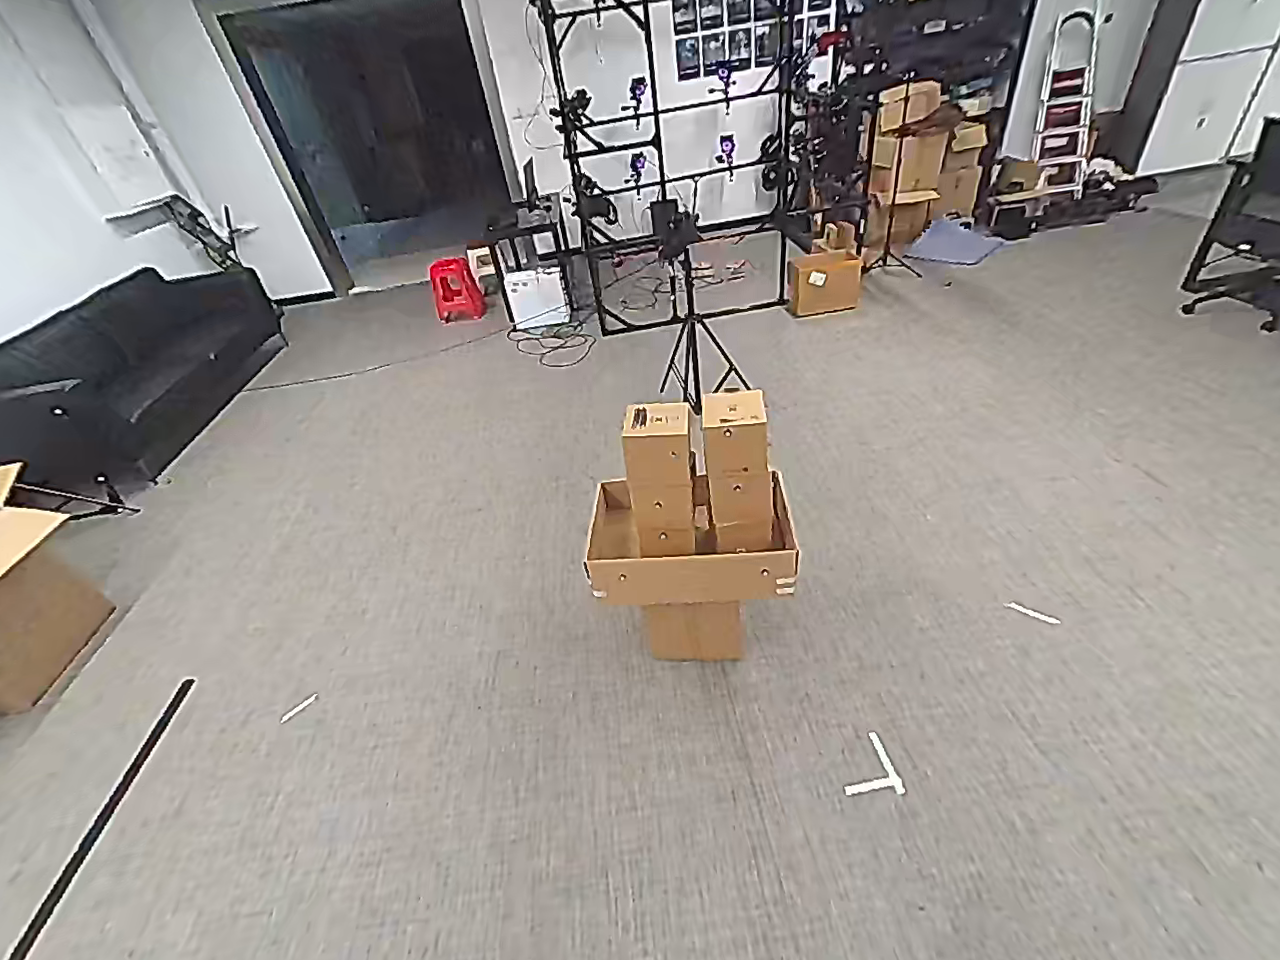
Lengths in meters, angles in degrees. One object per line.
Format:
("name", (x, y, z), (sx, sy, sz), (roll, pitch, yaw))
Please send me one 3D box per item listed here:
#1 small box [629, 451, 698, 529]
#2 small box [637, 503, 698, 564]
("small box", (0.076, 0.032, 1.596), (0.179, 0.176, 0.168), (0, 38, 12))
("small box", (0.093, 0.152, 1.705), (0.179, 0.176, 0.168), (-2, 37, 9))
